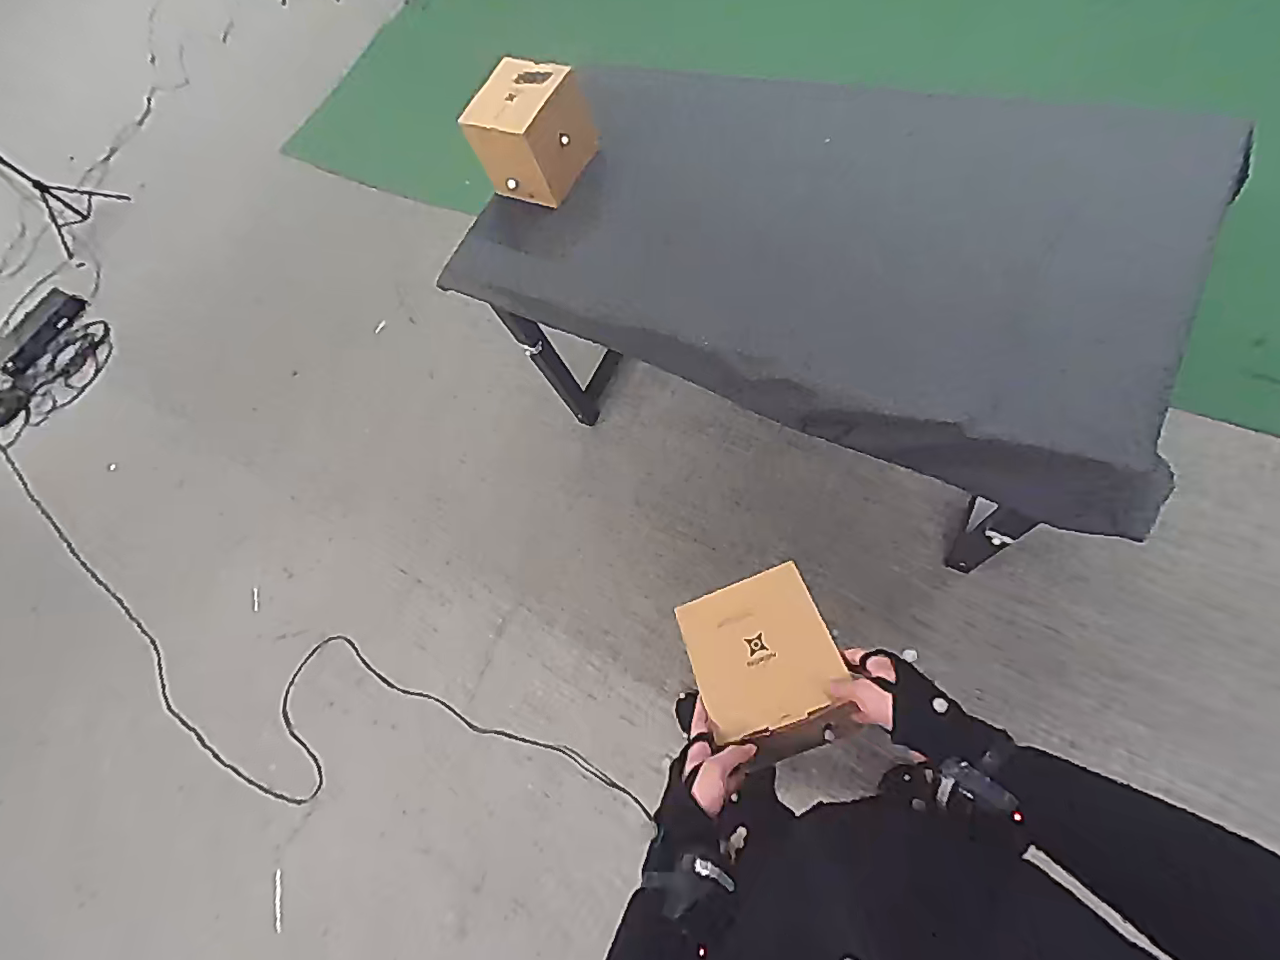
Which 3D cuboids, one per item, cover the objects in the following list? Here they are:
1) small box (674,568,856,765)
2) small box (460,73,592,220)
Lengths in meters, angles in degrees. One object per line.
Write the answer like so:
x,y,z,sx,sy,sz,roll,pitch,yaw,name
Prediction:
0.165,0.250,0.703,0.168,0.176,0.179,-24,48,5,small box
-0.215,-0.663,1.083,0.168,0.176,0.179,24,77,22,small box
